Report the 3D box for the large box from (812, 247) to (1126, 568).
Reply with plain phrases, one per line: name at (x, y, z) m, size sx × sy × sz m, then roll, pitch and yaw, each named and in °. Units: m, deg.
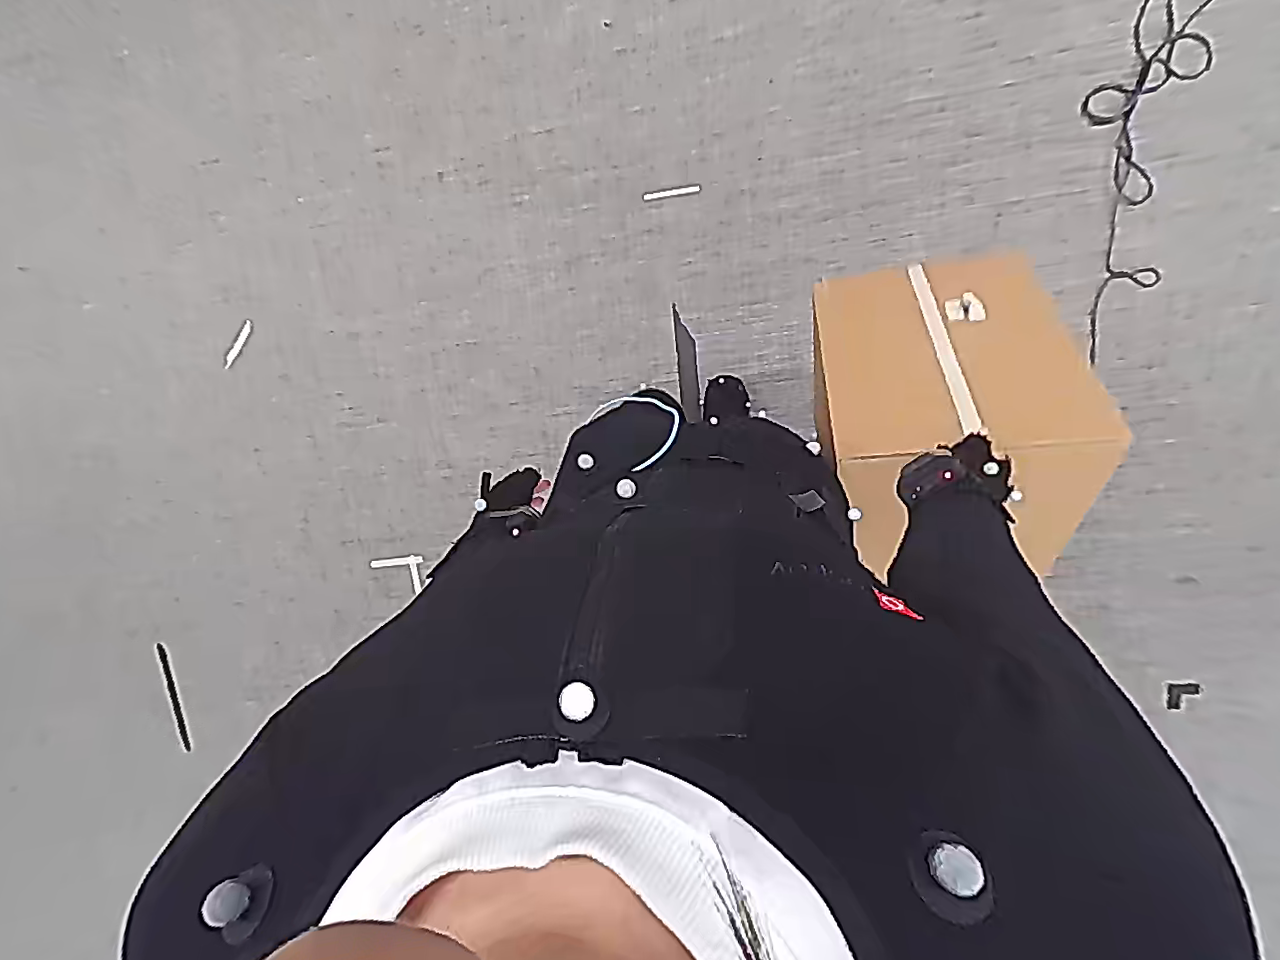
large box at (0.463, -0.108, 0.880) m, size 0.320 × 0.408 × 0.320 m, roll -4°, pitch 141°, yaw 14°
